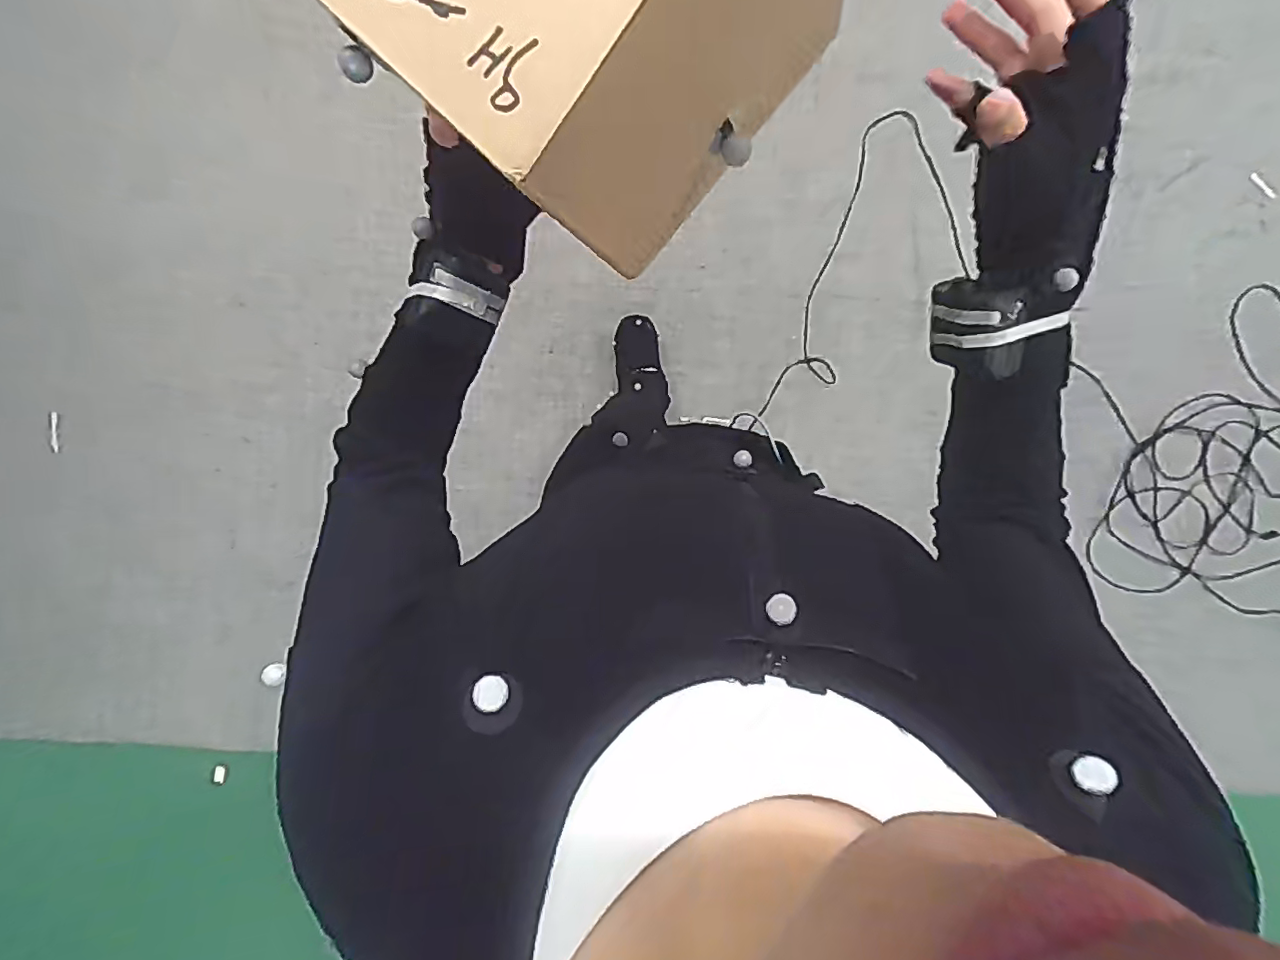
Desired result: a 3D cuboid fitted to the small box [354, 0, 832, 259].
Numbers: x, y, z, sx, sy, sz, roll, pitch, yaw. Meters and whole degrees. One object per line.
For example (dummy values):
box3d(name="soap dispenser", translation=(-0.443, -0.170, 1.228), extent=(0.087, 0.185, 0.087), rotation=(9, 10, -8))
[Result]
box3d(name="small box", translation=(-0.021, -0.236, 0.243), extent=(0.168, 0.176, 0.179), rotation=(45, 105, 4))
